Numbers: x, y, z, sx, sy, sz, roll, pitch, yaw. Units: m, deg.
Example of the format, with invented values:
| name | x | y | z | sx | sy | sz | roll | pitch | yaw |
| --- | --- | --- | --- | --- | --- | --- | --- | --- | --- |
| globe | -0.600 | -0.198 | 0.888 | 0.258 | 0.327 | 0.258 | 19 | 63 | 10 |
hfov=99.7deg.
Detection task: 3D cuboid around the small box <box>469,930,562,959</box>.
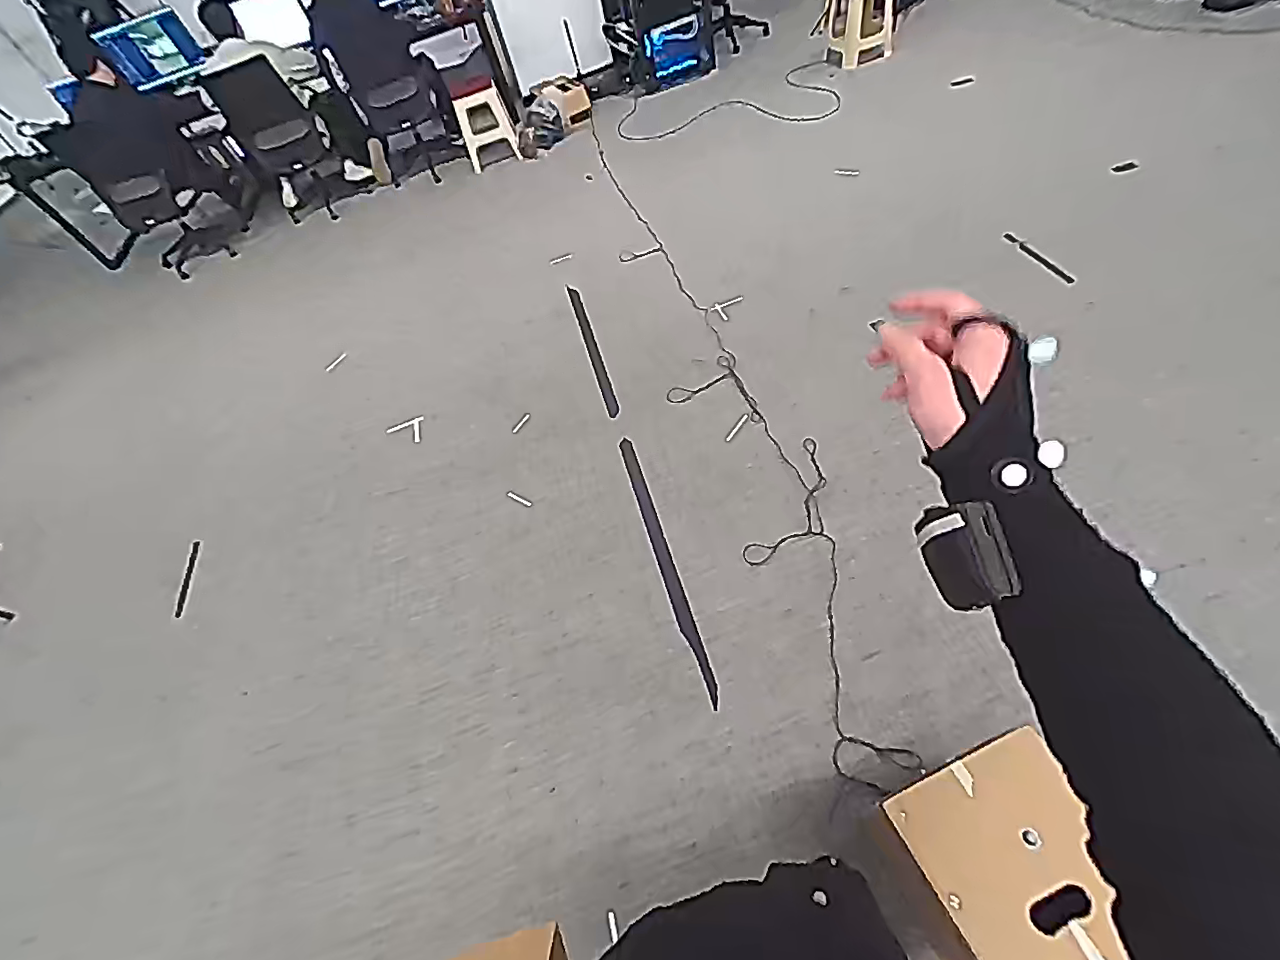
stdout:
| name | x | y | z | sx | sy | sz | roll | pitch | yaw |
| --- | --- | --- | --- | --- | --- | --- | --- | --- | --- |
| small box | -0.168 | 0.739 | 0.680 | 0.168 | 0.179 | 0.176 | -17 | 87 | -2 |
